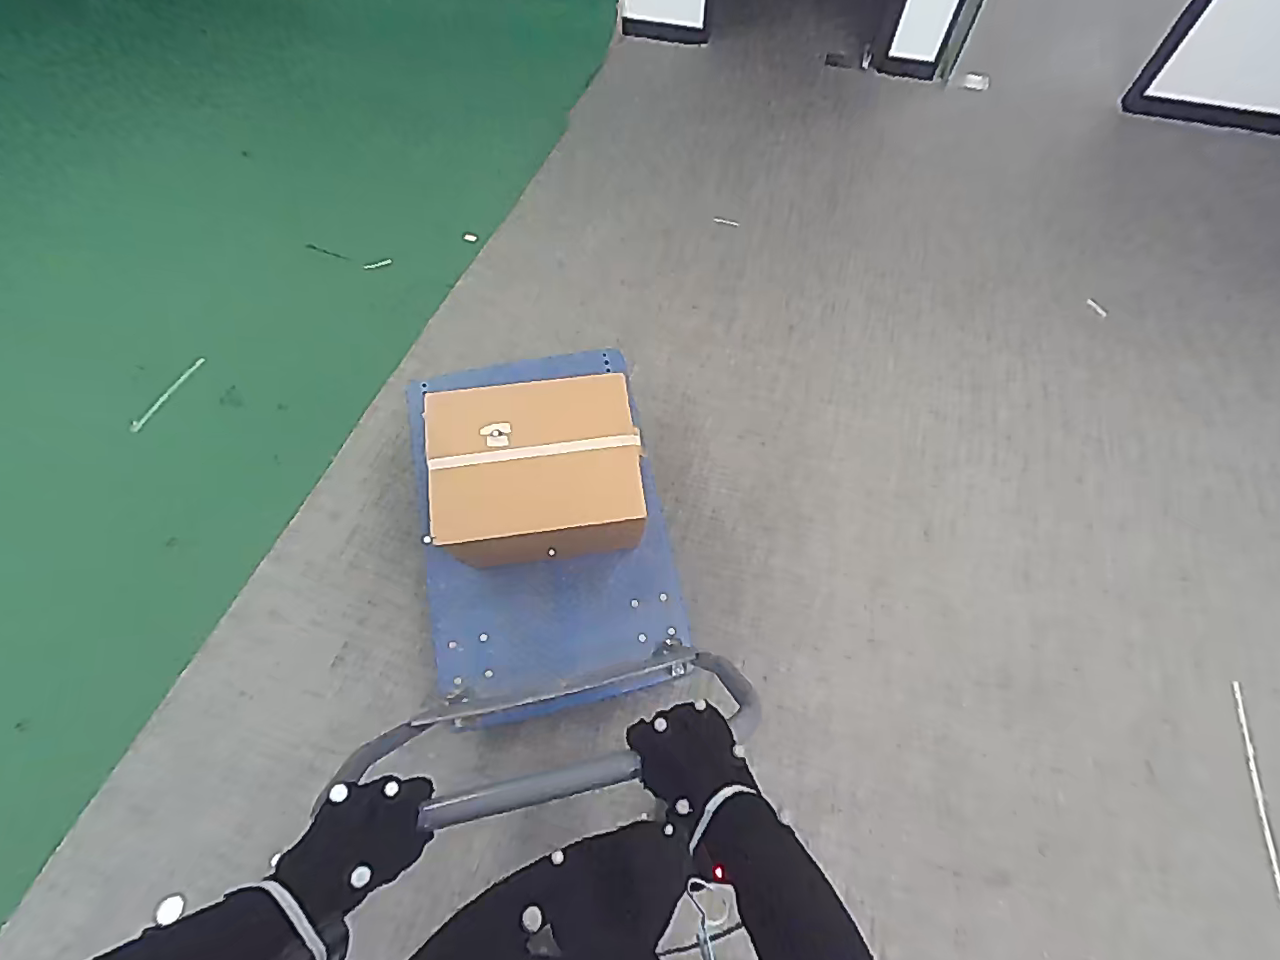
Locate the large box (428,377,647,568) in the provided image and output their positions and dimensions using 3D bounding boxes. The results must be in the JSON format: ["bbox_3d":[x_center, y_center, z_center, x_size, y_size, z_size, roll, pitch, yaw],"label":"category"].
[{"bbox_3d":[-0.209,0.001,1.196,0.408,0.320,0.320,-7,73,-4],"label":"large box"}]
